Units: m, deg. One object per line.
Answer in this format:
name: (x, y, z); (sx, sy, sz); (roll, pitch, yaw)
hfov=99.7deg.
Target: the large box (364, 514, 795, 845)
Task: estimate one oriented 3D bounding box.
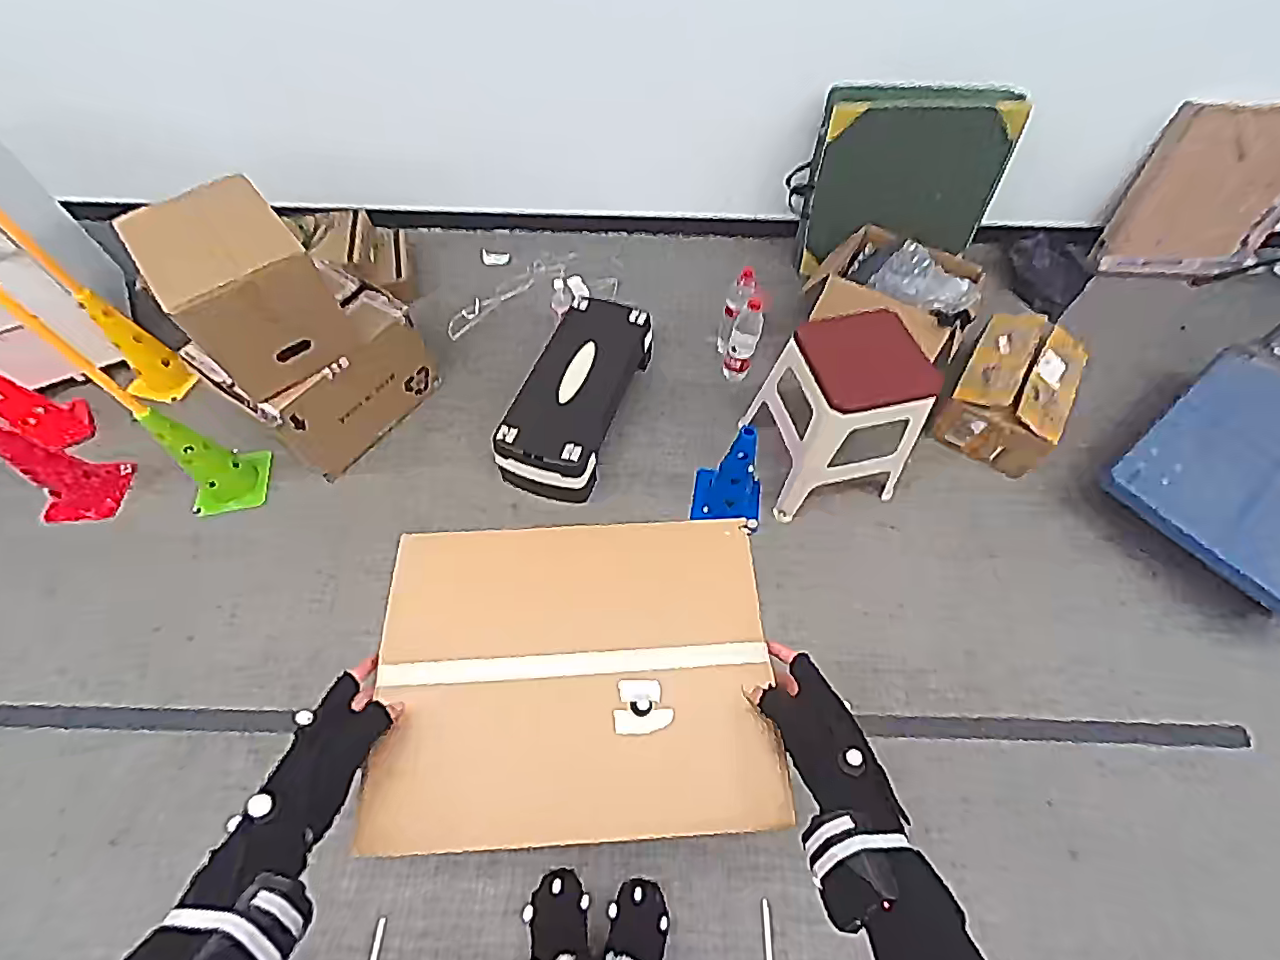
large box: (-0.066, 0.255, 0.694); (0.408, 0.320, 0.320); (-2, 61, -3)
